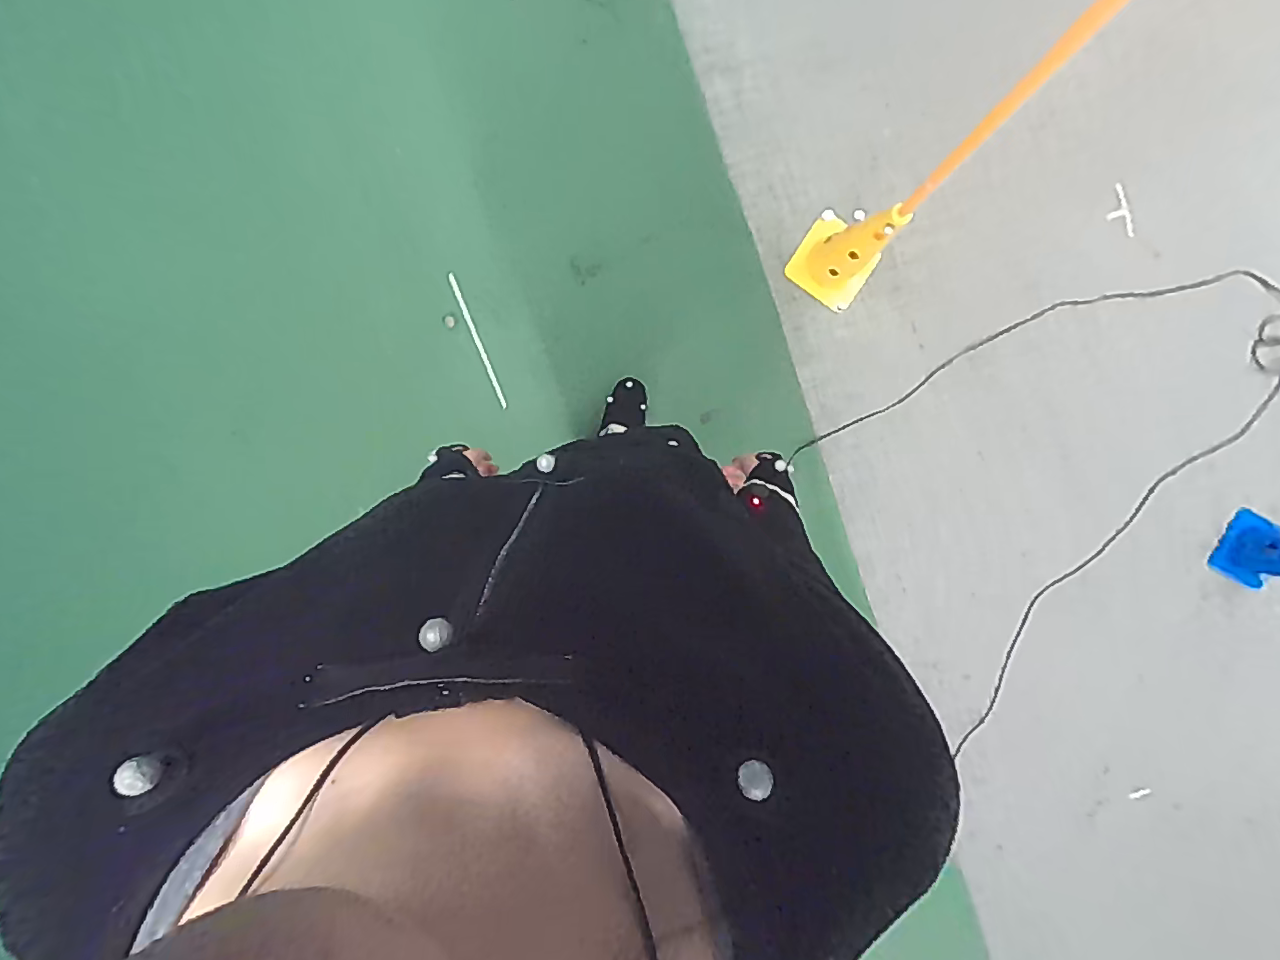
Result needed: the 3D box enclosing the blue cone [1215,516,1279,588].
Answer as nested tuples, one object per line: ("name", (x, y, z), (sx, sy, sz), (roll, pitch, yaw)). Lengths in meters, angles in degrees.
("blue cone", (1.825, 0.230, 1.434), (0.193, 0.380, 0.192), (25, 94, -7))
